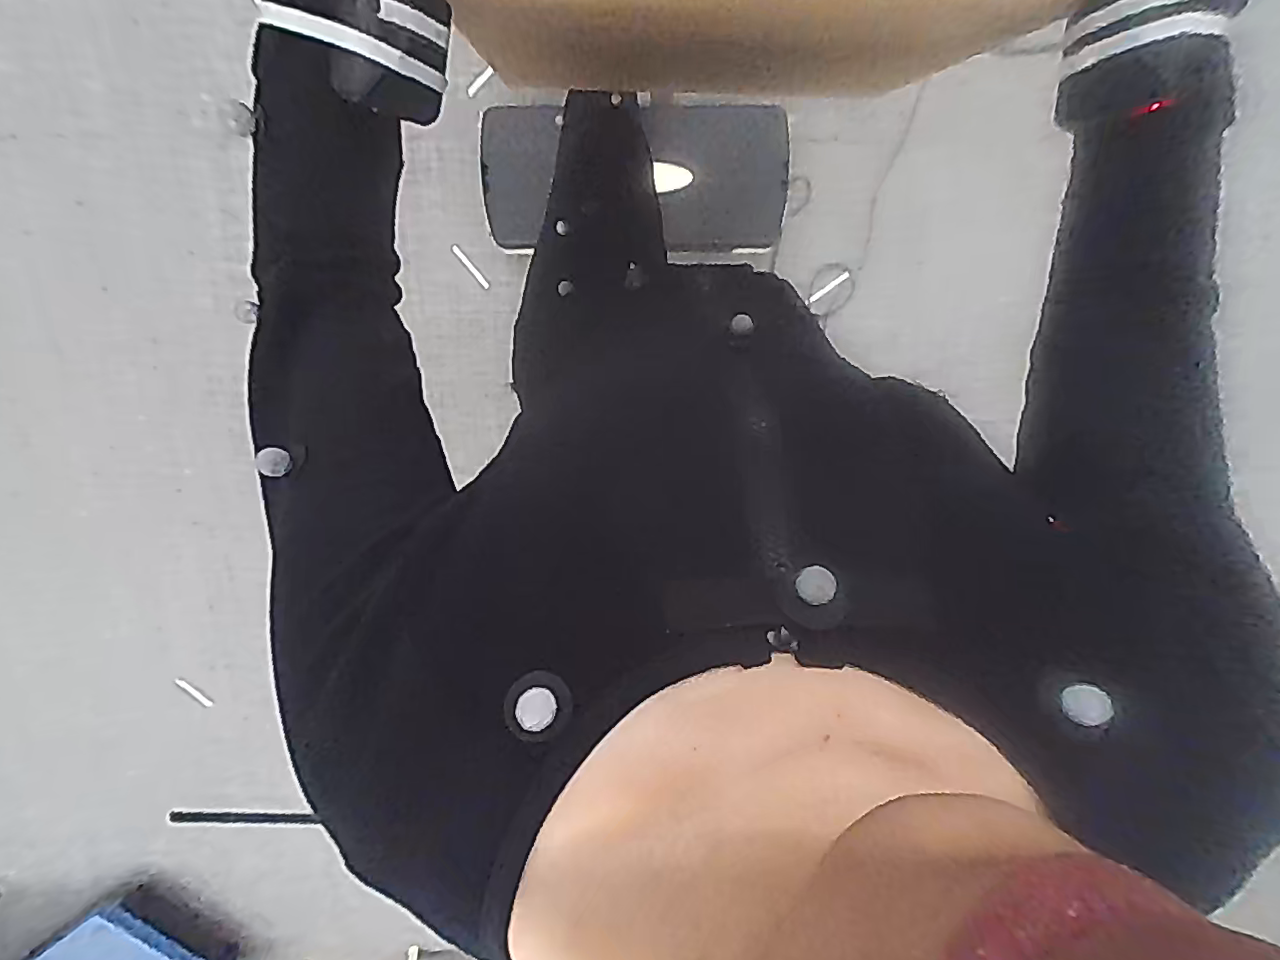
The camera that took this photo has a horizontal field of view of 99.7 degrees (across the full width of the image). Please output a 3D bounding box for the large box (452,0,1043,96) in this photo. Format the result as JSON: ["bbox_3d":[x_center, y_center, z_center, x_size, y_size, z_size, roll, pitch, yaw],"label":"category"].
[{"bbox_3d":[0.065,-0.491,0.383,0.408,0.320,0.320,-1,116,-3],"label":"large box"}]
